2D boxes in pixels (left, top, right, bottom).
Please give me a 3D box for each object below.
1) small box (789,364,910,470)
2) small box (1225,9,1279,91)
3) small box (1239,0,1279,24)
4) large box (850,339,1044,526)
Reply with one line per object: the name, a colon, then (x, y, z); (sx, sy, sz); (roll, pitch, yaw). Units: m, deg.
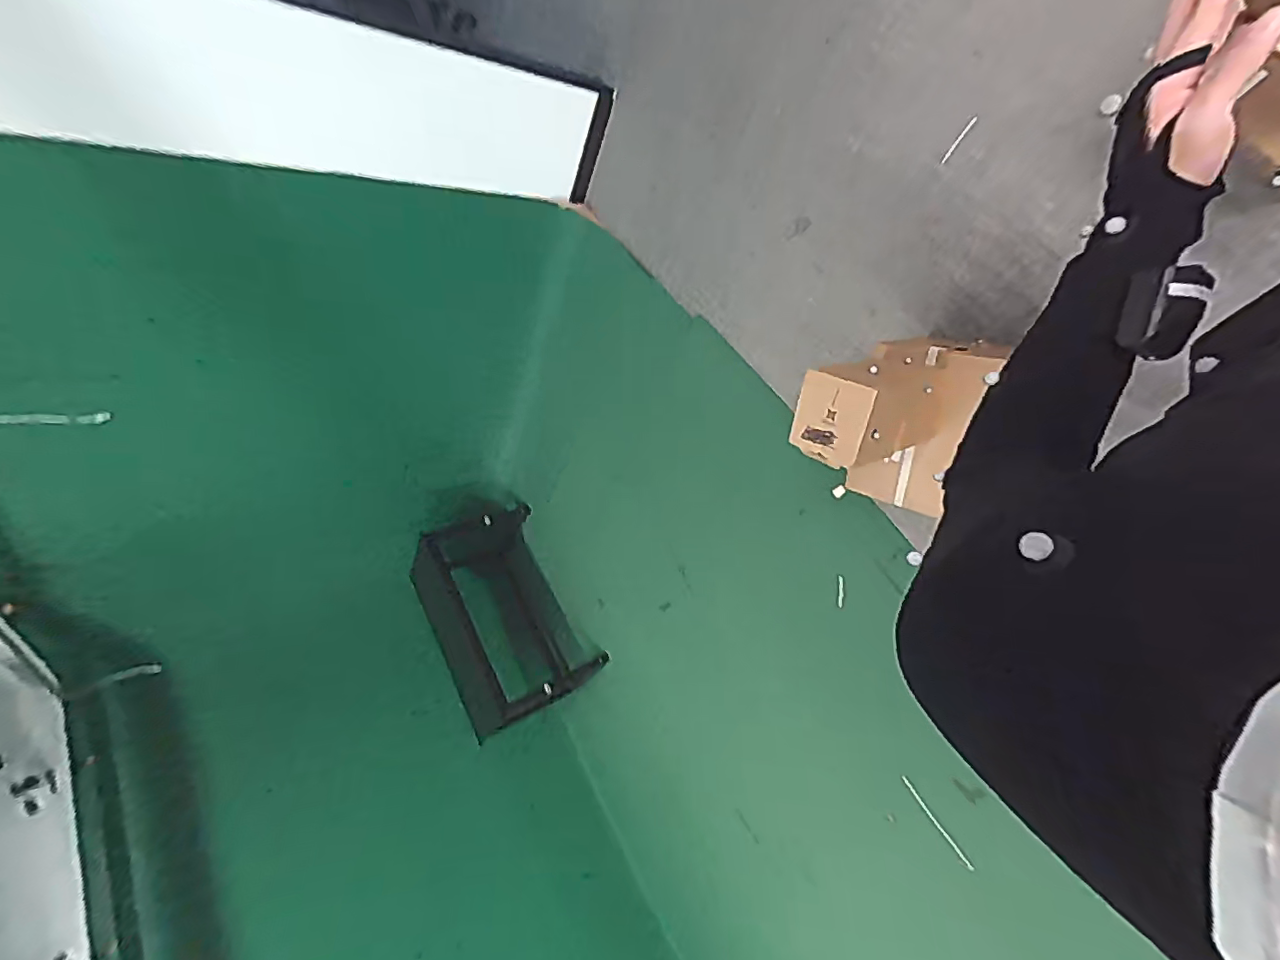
small box: (0.459, -0.144, 1.181); (0.168, 0.176, 0.179); (32, 125, 41)
small box: (0.937, -0.616, 0.704); (0.179, 0.176, 0.168); (57, 138, 18)
small box: (0.465, -0.423, 0.321); (0.168, 0.176, 0.179); (-13, 94, 50)
large box: (0.799, -0.149, 1.427); (0.320, 0.320, 0.408); (24, 121, 46)
